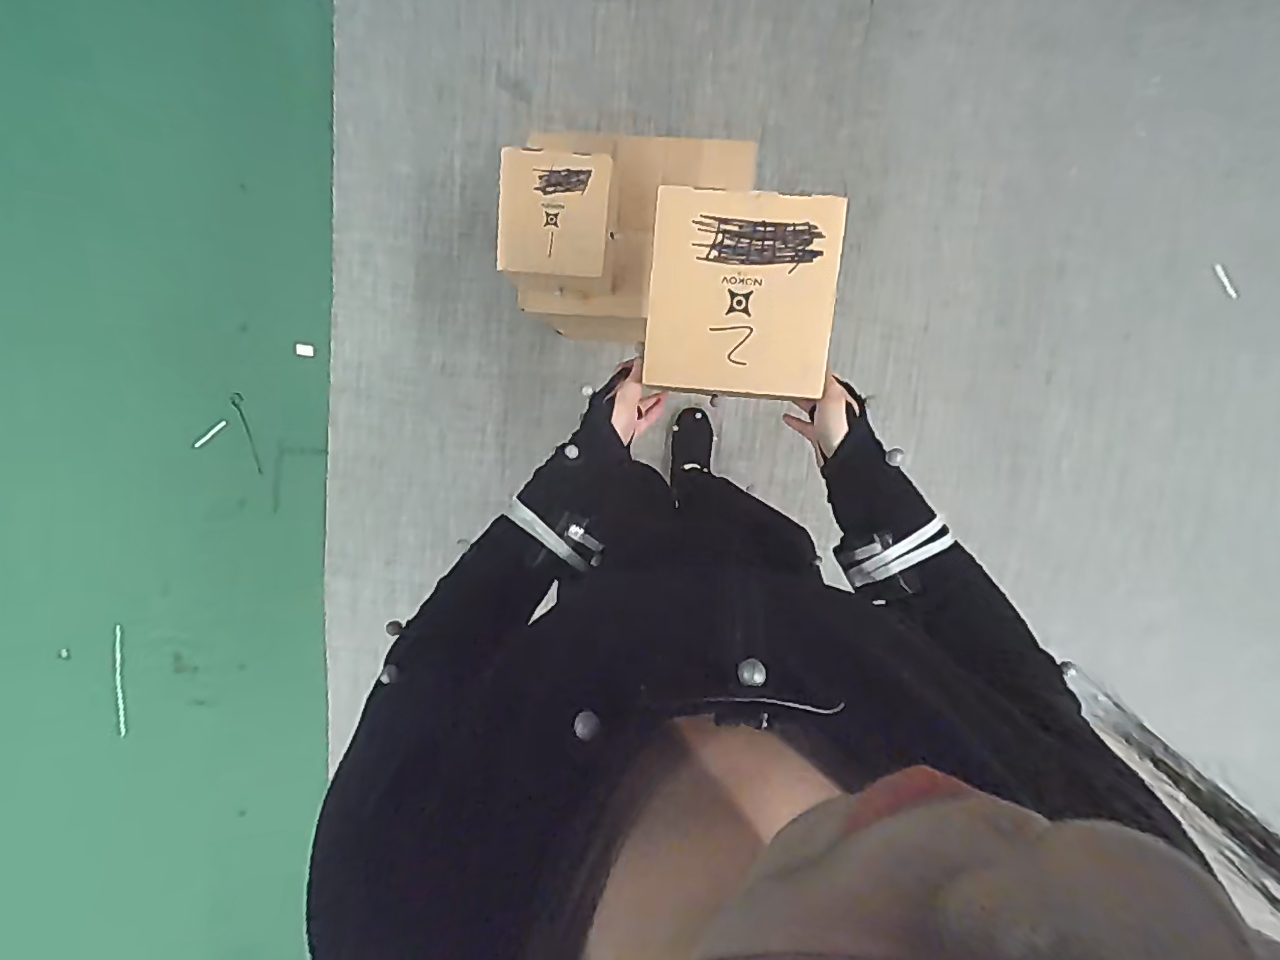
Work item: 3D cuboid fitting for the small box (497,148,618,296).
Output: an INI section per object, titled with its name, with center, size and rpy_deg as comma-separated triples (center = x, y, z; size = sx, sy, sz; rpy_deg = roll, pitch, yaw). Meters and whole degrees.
[small box]
center = -0.129, -0.415, 0.896
size = 0.168, 0.176, 0.179
rpy_deg = 6, 101, 1
